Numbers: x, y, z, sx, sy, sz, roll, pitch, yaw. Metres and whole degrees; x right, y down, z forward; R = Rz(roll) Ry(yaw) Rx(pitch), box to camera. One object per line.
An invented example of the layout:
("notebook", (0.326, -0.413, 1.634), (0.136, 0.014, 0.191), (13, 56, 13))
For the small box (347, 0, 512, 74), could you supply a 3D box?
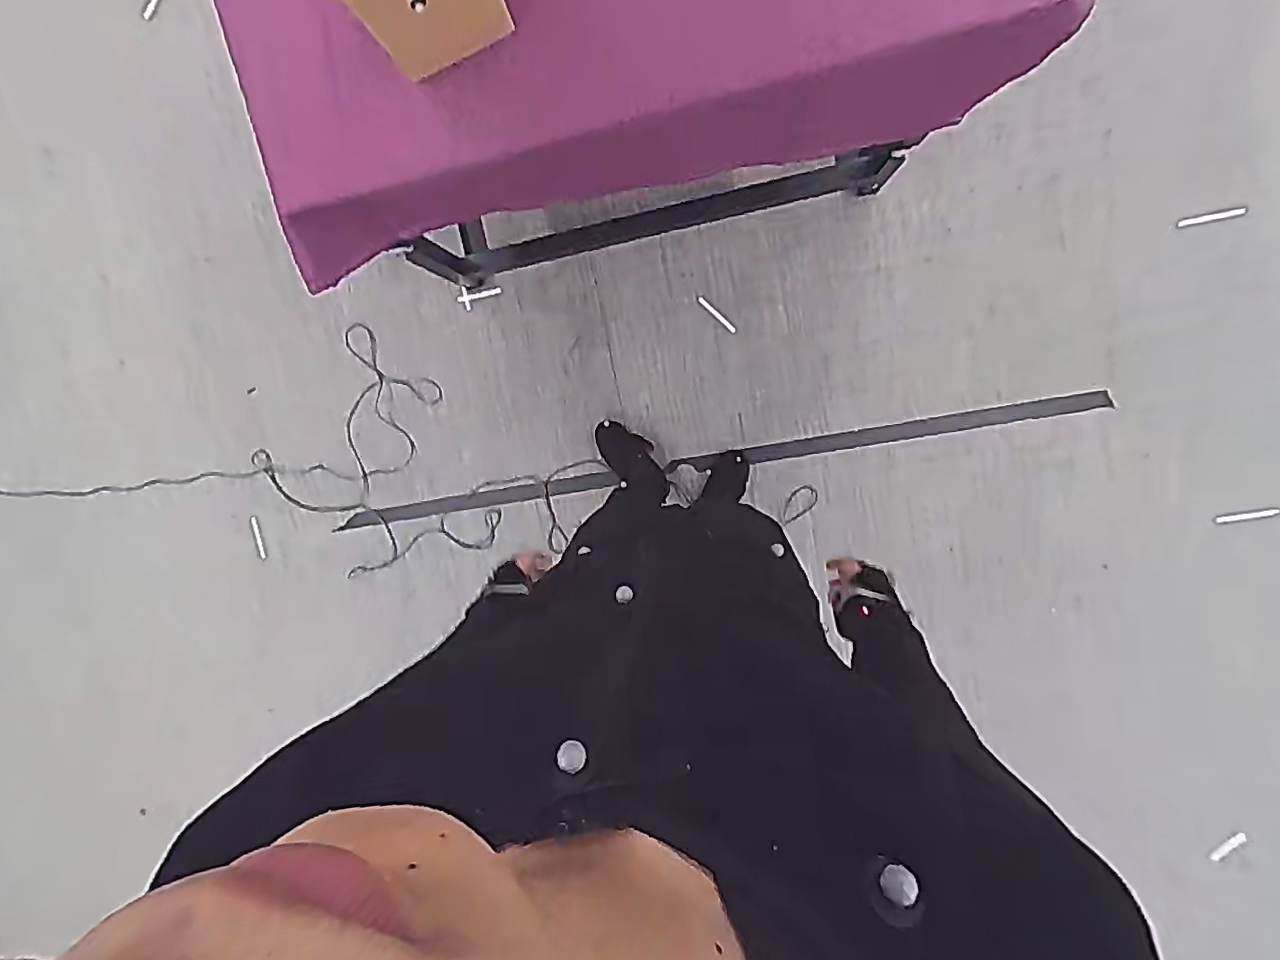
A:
("small box", (-0.301, -0.704, 0.730), (0.179, 0.176, 0.168), (-20, 96, 7))
